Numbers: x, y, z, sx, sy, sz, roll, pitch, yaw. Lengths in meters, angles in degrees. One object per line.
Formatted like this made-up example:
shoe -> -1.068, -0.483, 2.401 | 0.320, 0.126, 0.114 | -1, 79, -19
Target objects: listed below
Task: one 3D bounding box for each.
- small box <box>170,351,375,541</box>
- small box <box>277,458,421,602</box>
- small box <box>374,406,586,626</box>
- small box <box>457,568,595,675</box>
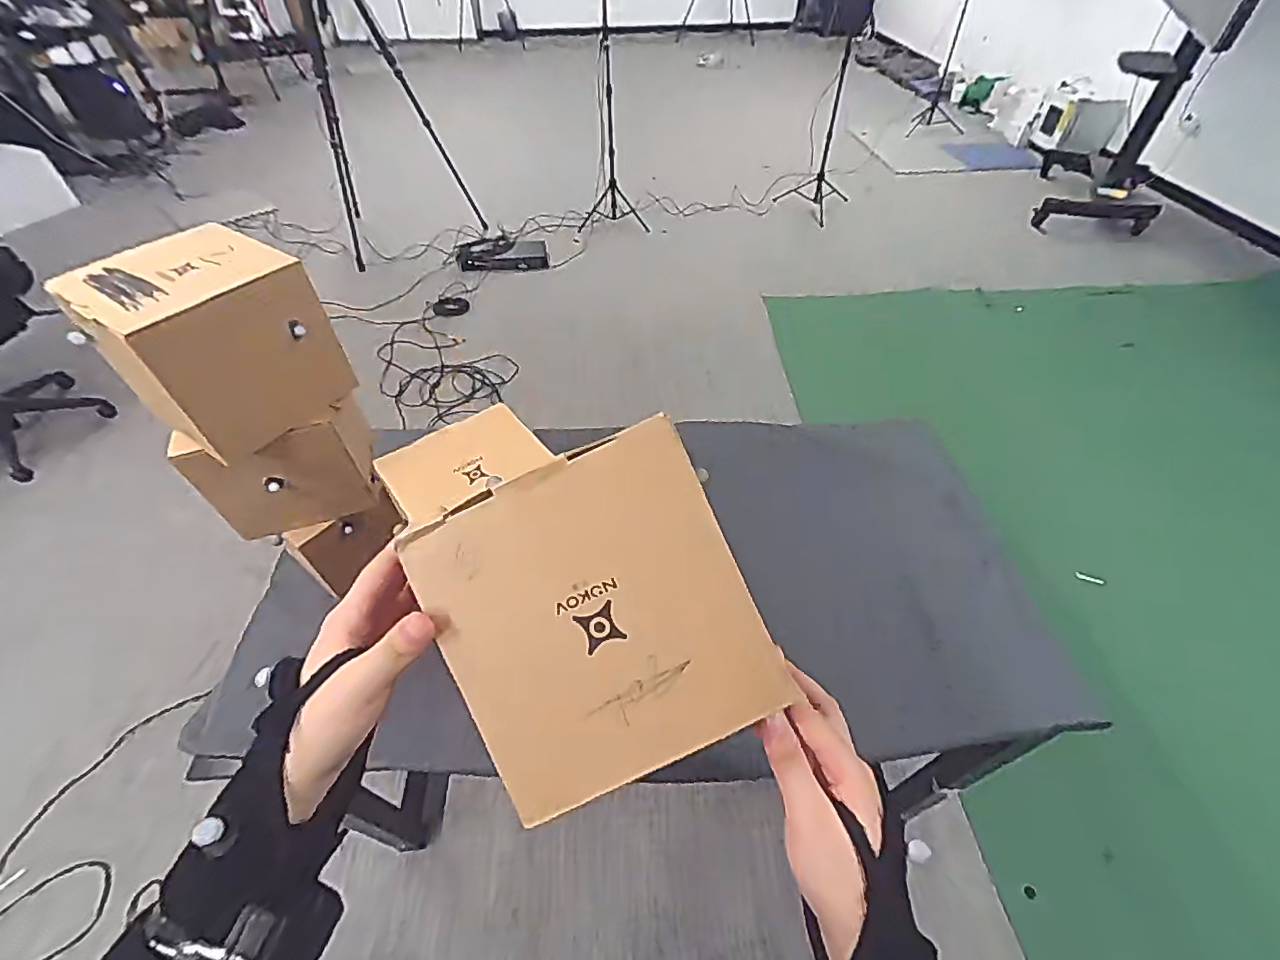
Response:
small box -> -0.477, -0.045, 0.737 | 0.179, 0.176, 0.168 | -17, 51, -13
small box -> -0.475, 0.061, 0.862 | 0.179, 0.176, 0.168 | 30, 55, 24
small box -> -0.180, 0.049, 0.649 | 0.168, 0.176, 0.179 | -31, 54, -24
small box -> -0.173, 0.153, 0.773 | 0.168, 0.176, 0.179 | -21, 50, -18
